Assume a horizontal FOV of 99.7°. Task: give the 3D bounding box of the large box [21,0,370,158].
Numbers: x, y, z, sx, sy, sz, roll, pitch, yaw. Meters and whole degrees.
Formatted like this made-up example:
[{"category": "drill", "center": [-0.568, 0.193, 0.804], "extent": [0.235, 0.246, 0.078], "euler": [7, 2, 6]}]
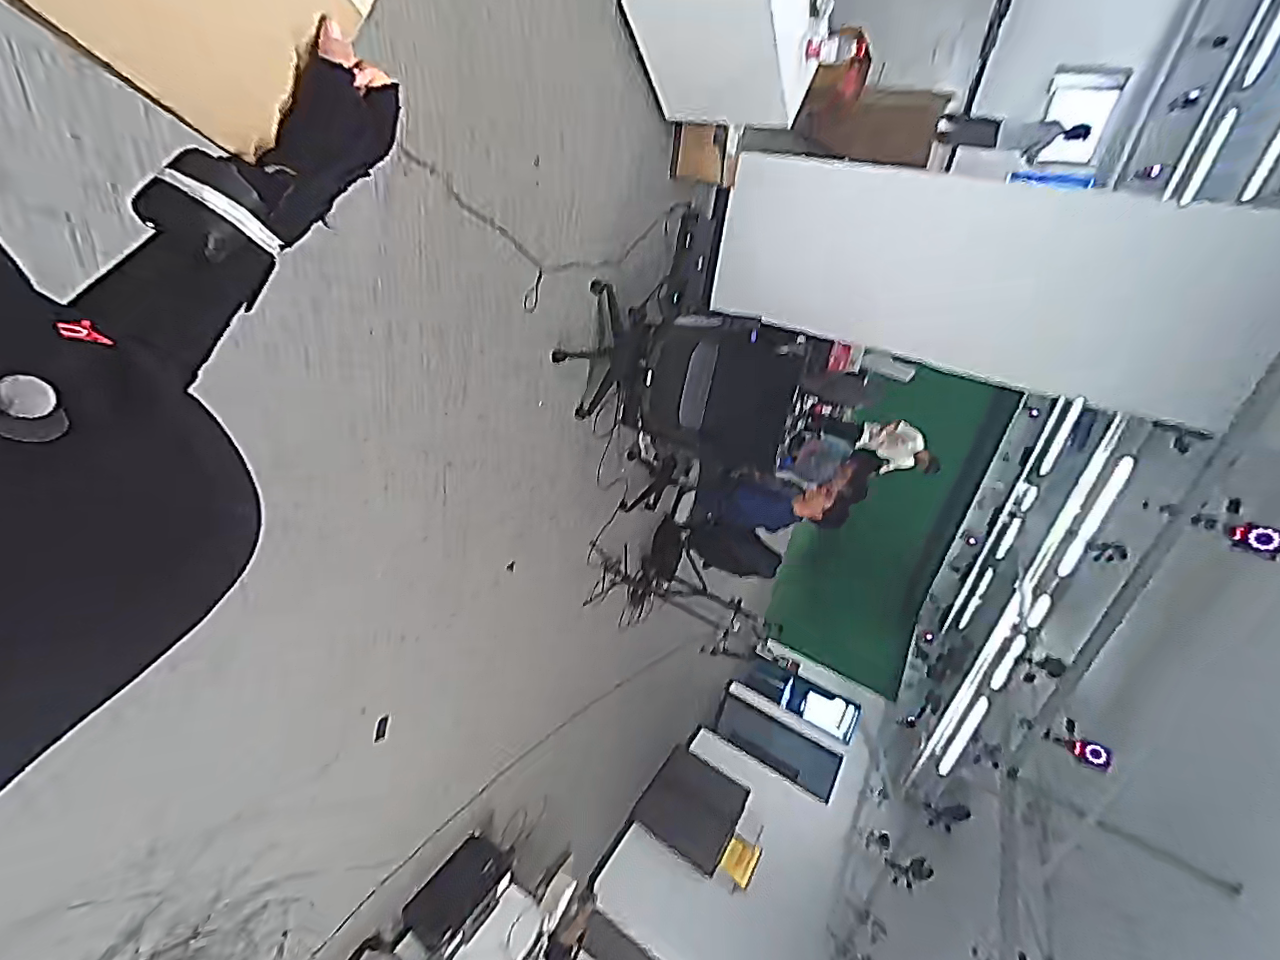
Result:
[{"category": "large box", "center": [-0.396, -0.496, 0.304], "extent": [0.320, 0.320, 0.408], "euler": [-54, 157, 2]}]
